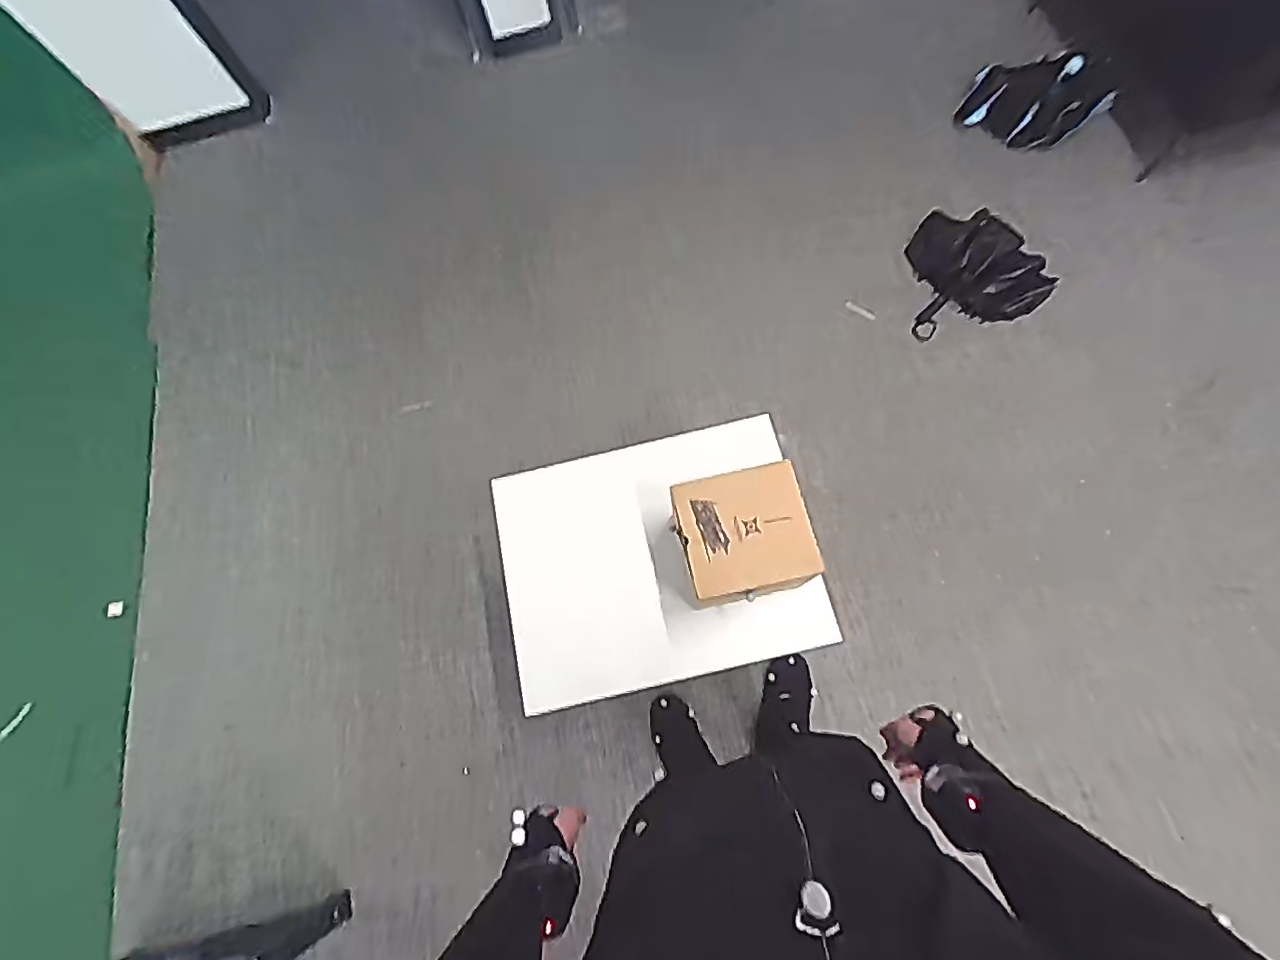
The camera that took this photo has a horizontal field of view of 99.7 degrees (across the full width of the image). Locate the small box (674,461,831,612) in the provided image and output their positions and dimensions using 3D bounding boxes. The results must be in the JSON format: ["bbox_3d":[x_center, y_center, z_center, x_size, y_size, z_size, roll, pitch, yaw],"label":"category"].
[{"bbox_3d":[0.152,0.092,0.795,0.179,0.176,0.168,-12,71,-2],"label":"small box"}]
